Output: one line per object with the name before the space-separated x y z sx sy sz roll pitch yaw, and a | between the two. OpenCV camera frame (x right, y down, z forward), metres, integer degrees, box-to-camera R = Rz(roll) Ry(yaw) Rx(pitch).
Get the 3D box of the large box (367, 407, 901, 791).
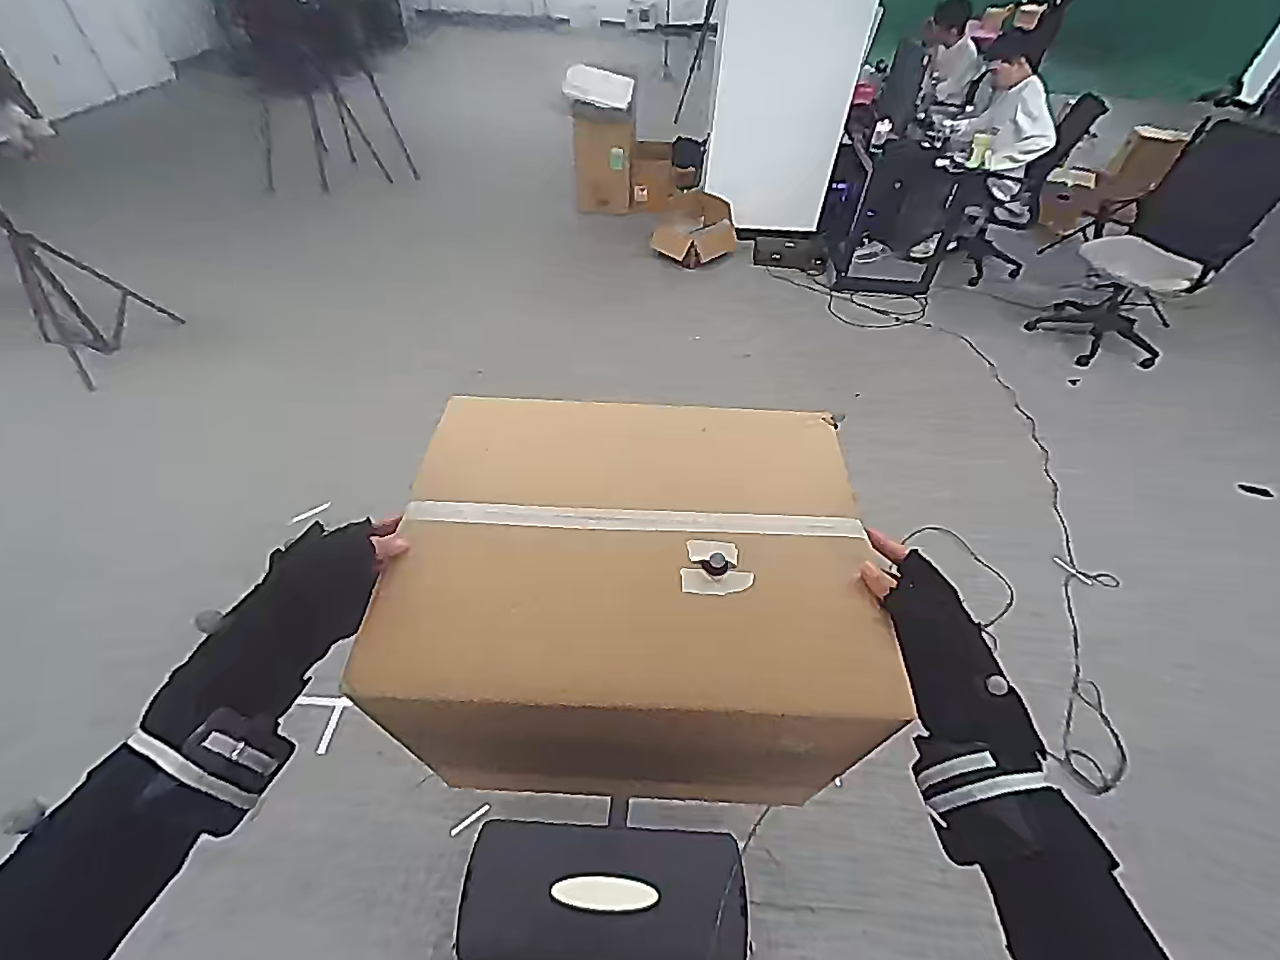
large box | -0.008 0.140 0.603 0.408 0.320 0.320 3 50 -1
